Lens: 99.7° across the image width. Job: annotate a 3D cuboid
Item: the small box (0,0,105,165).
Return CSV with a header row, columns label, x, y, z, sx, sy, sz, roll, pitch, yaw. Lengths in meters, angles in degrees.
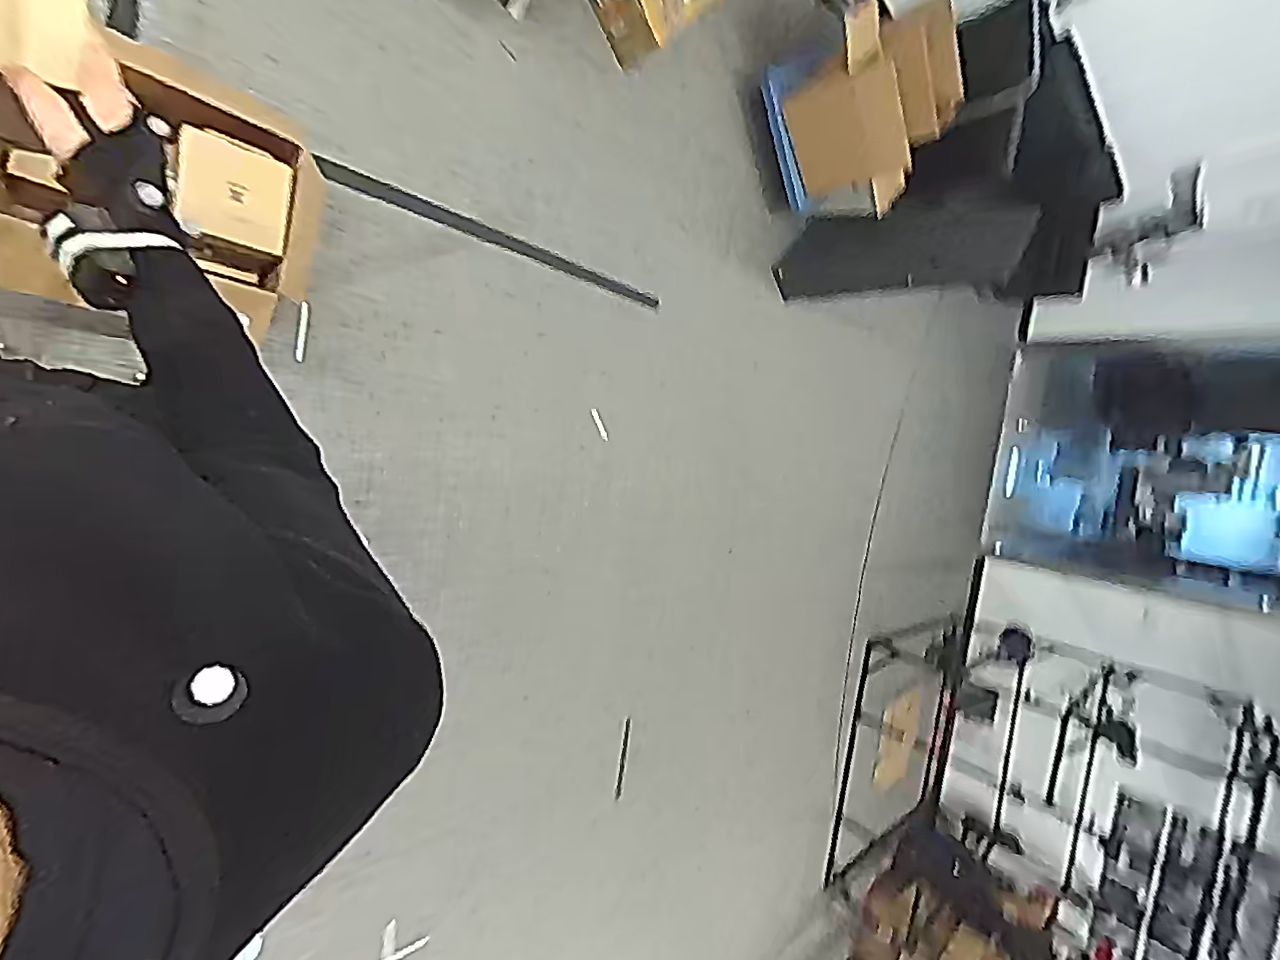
label,x,y,z,sx,sy,sz,roll,pitch,yaw
small box,-0.574,-0.399,0.446,0.168,0.176,0.179,-11,102,-45
